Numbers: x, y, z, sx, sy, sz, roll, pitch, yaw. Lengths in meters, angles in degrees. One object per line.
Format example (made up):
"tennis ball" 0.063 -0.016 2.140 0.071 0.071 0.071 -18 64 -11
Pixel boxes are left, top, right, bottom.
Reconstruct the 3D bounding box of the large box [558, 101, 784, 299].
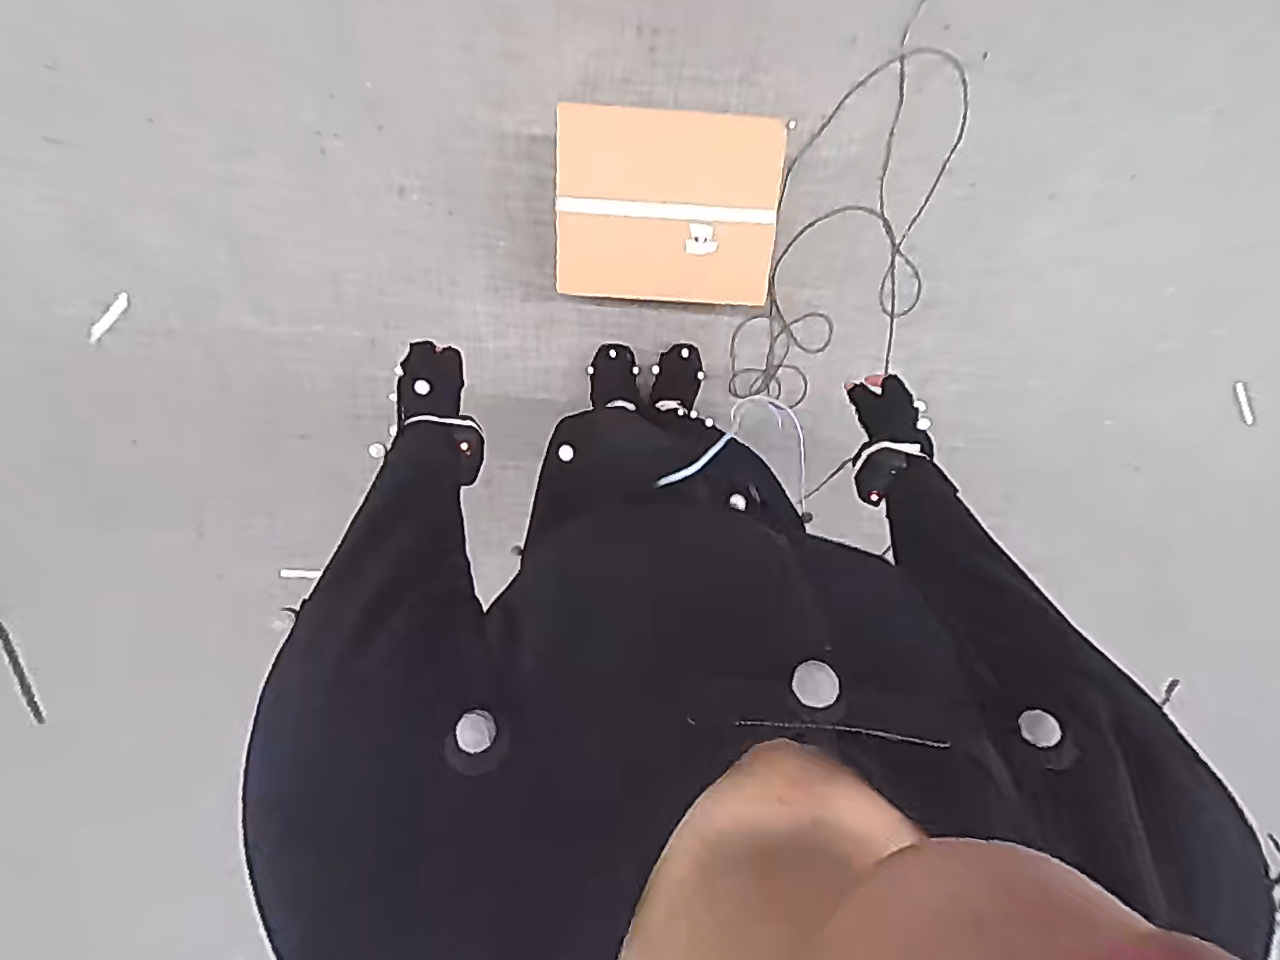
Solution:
"large box" 0.042 -0.556 1.132 0.408 0.320 0.320 3 112 -3
